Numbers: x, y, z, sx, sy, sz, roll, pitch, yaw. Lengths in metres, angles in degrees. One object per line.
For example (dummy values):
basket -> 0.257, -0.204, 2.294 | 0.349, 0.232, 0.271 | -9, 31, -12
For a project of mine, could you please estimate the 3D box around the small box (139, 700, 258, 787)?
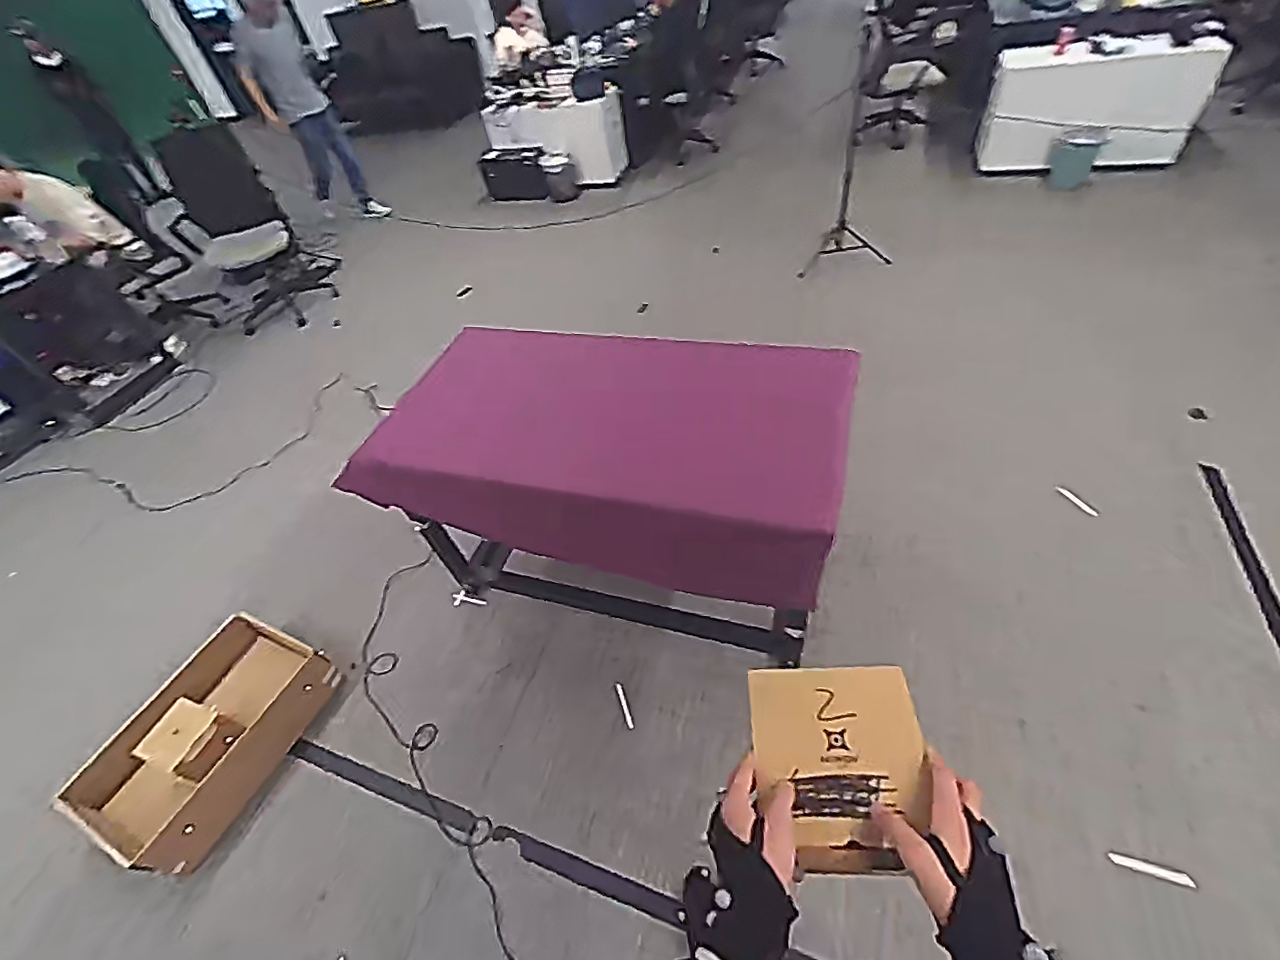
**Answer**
small box -> -1.287, 0.779, 1.591 | 0.179, 0.176, 0.168 | 9, 49, 19
